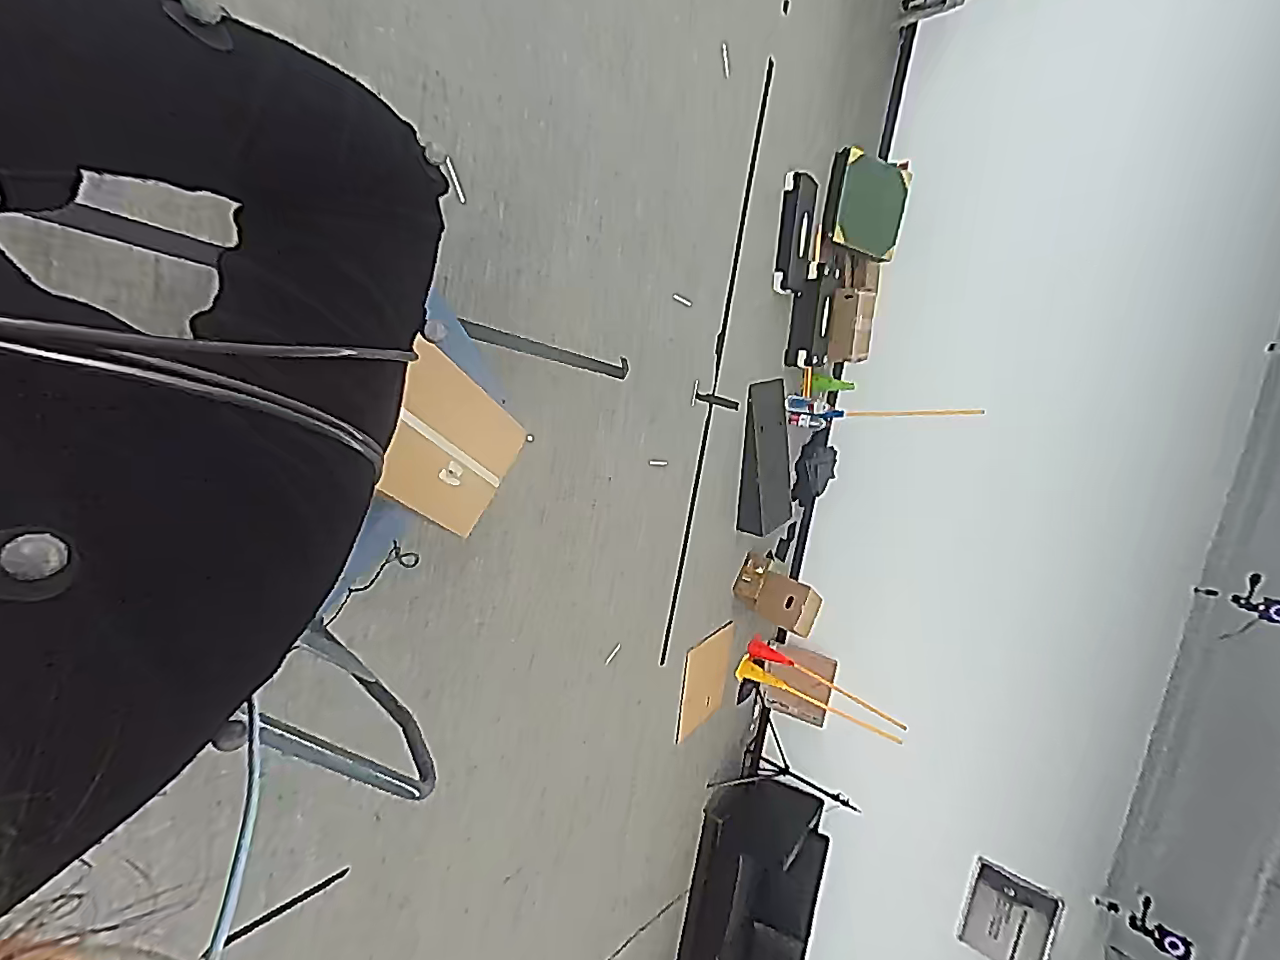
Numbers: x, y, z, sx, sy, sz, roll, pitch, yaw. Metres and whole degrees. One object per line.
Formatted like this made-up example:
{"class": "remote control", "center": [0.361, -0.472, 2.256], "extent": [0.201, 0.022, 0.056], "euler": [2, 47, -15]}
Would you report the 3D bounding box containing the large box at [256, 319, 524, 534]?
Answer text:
{"class": "large box", "center": [-0.561, -0.121, 1.263], "extent": [0.320, 0.320, 0.408], "euler": [-62, 144, -16]}
